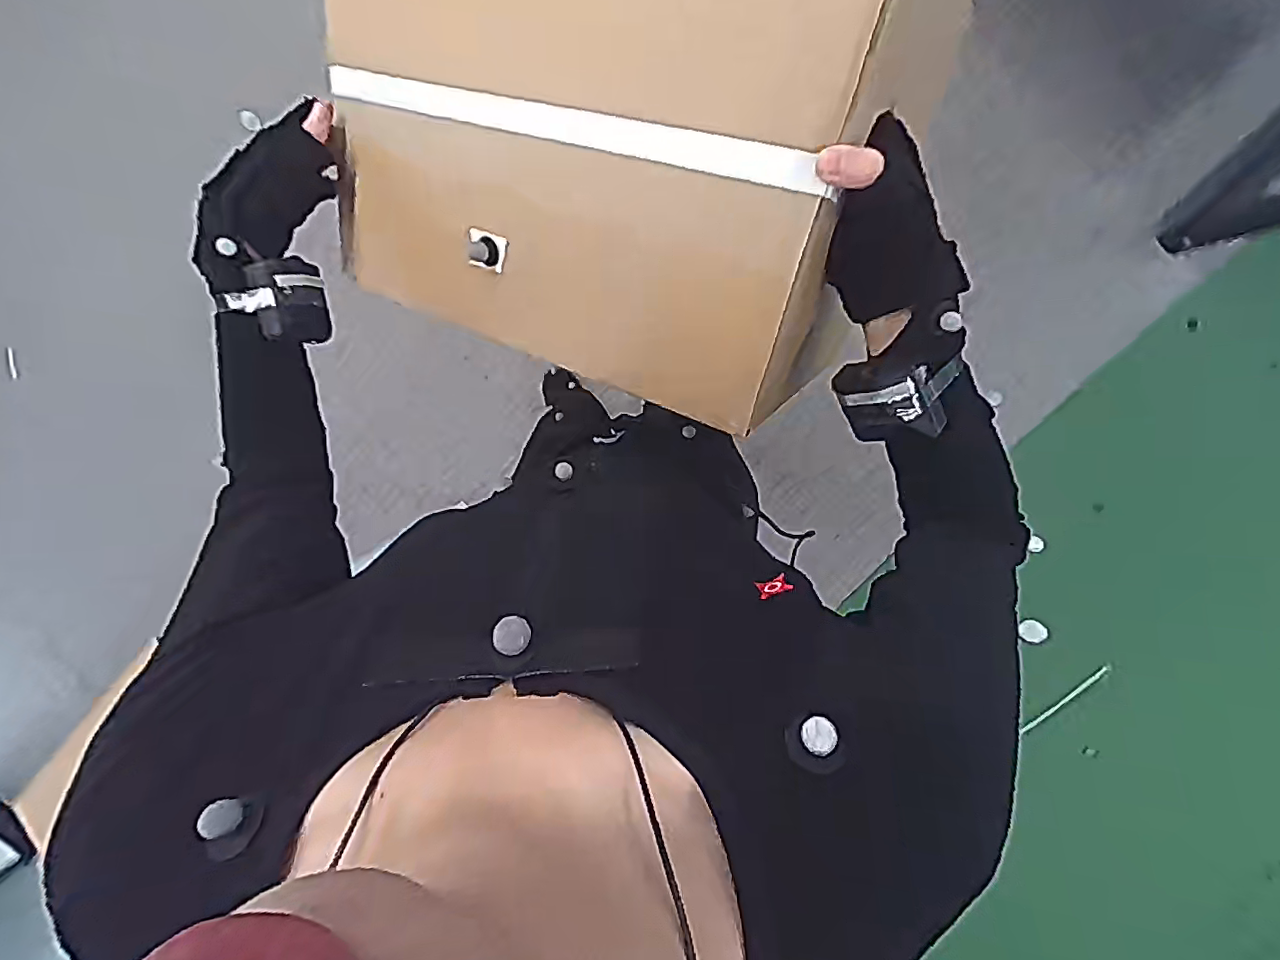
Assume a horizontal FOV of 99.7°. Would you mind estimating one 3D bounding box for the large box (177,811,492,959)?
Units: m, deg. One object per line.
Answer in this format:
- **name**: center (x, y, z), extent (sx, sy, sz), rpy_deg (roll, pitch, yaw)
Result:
- **large box**: center (-0.445, 0.696, 0.618), extent (0.320, 0.320, 0.408), rpy_deg (43, 103, -5)
